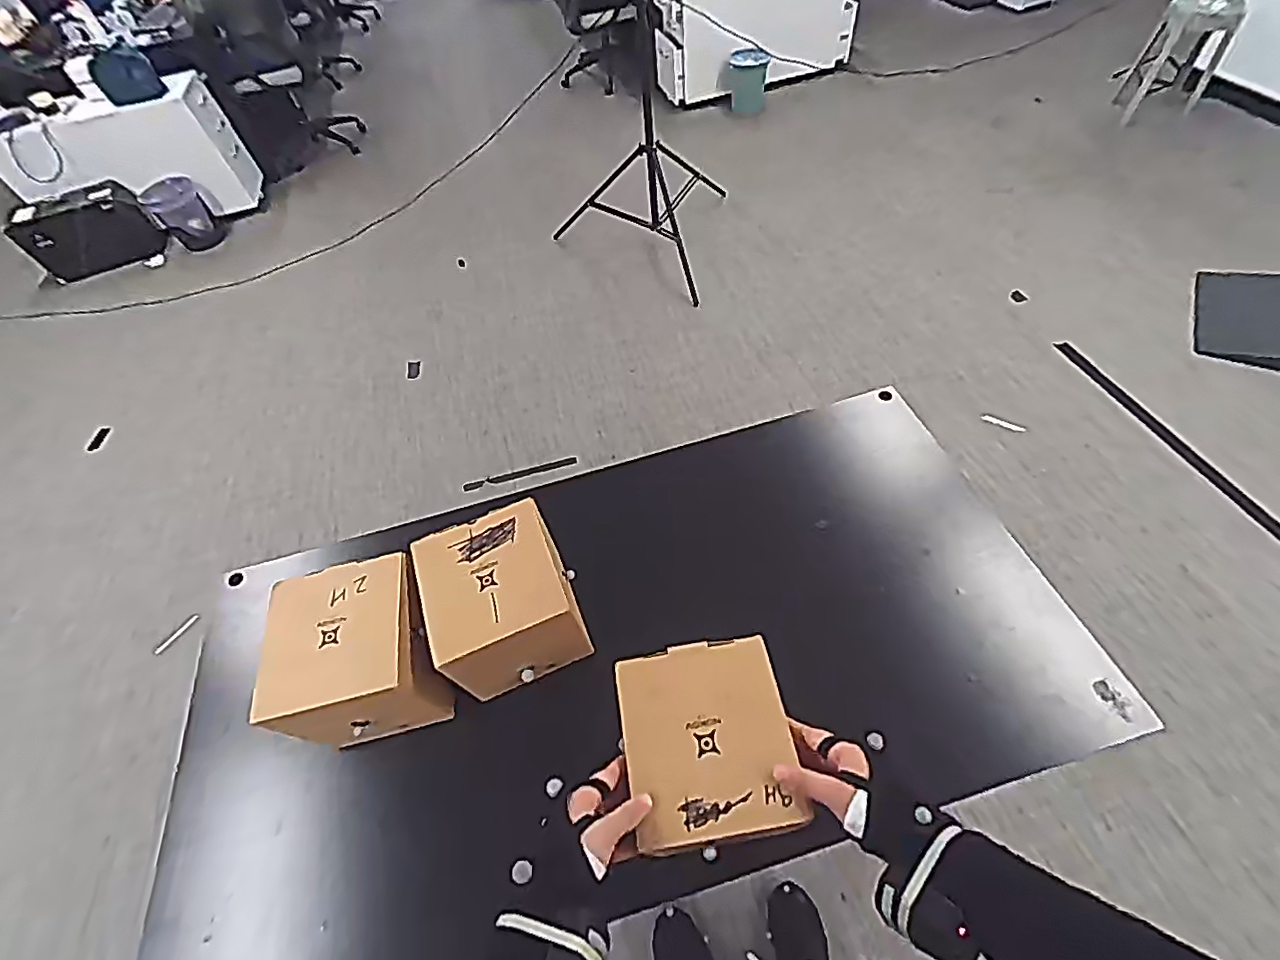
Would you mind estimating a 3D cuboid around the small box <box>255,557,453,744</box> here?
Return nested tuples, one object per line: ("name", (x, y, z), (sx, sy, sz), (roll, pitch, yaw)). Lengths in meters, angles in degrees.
("small box", (-0.355, 0.231, 0.710), (0.168, 0.176, 0.179), (-14, 54, -3))

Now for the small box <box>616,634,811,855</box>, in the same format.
("small box", (0.073, 0.298, 0.603), (0.168, 0.176, 0.179), (-12, 53, 0))
